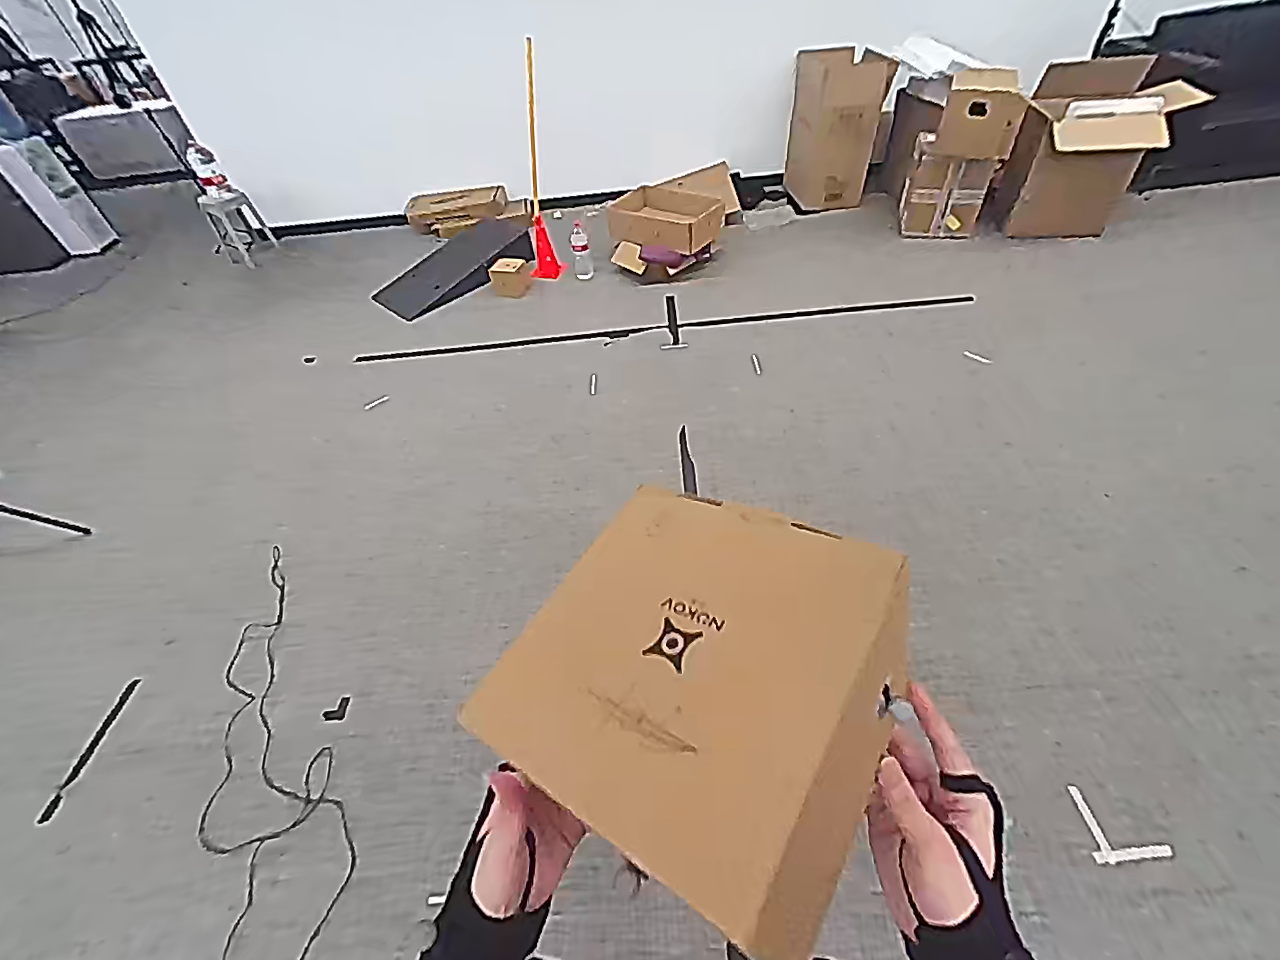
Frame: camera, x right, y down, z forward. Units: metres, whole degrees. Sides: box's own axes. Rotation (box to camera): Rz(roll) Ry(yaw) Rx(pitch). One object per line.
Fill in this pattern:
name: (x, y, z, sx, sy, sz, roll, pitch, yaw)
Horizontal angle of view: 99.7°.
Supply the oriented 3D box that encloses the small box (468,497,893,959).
small box: (0.041, 0.143, 0.329, 0.168, 0.176, 0.179, 14, 53, 35)
